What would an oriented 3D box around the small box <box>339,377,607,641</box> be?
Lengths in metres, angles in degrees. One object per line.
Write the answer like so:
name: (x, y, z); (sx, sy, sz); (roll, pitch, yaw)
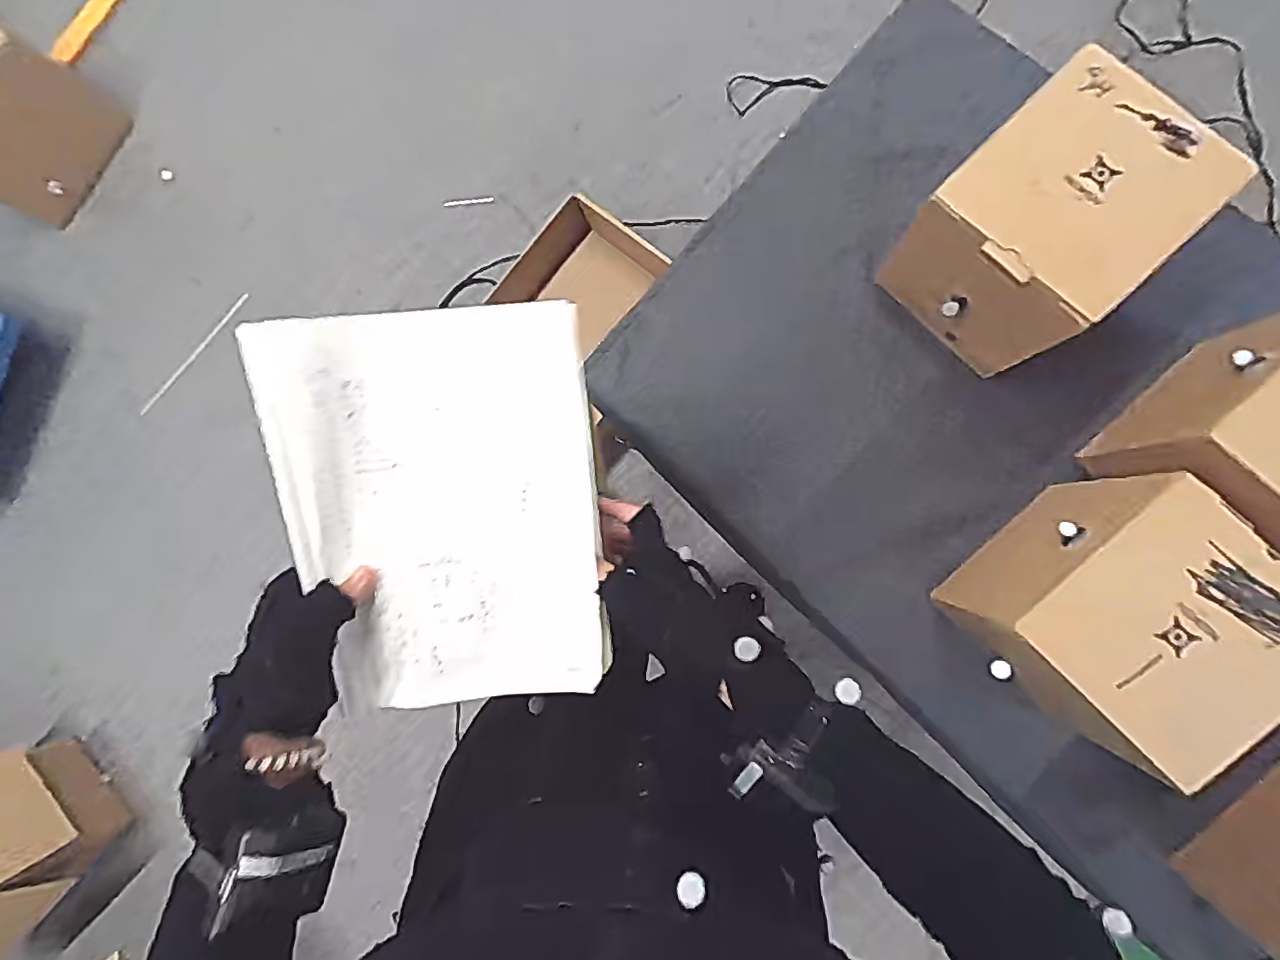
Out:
small box: (-0.127, 0.020, 0.481); (0.168, 0.176, 0.179); (-11, 91, 0)
